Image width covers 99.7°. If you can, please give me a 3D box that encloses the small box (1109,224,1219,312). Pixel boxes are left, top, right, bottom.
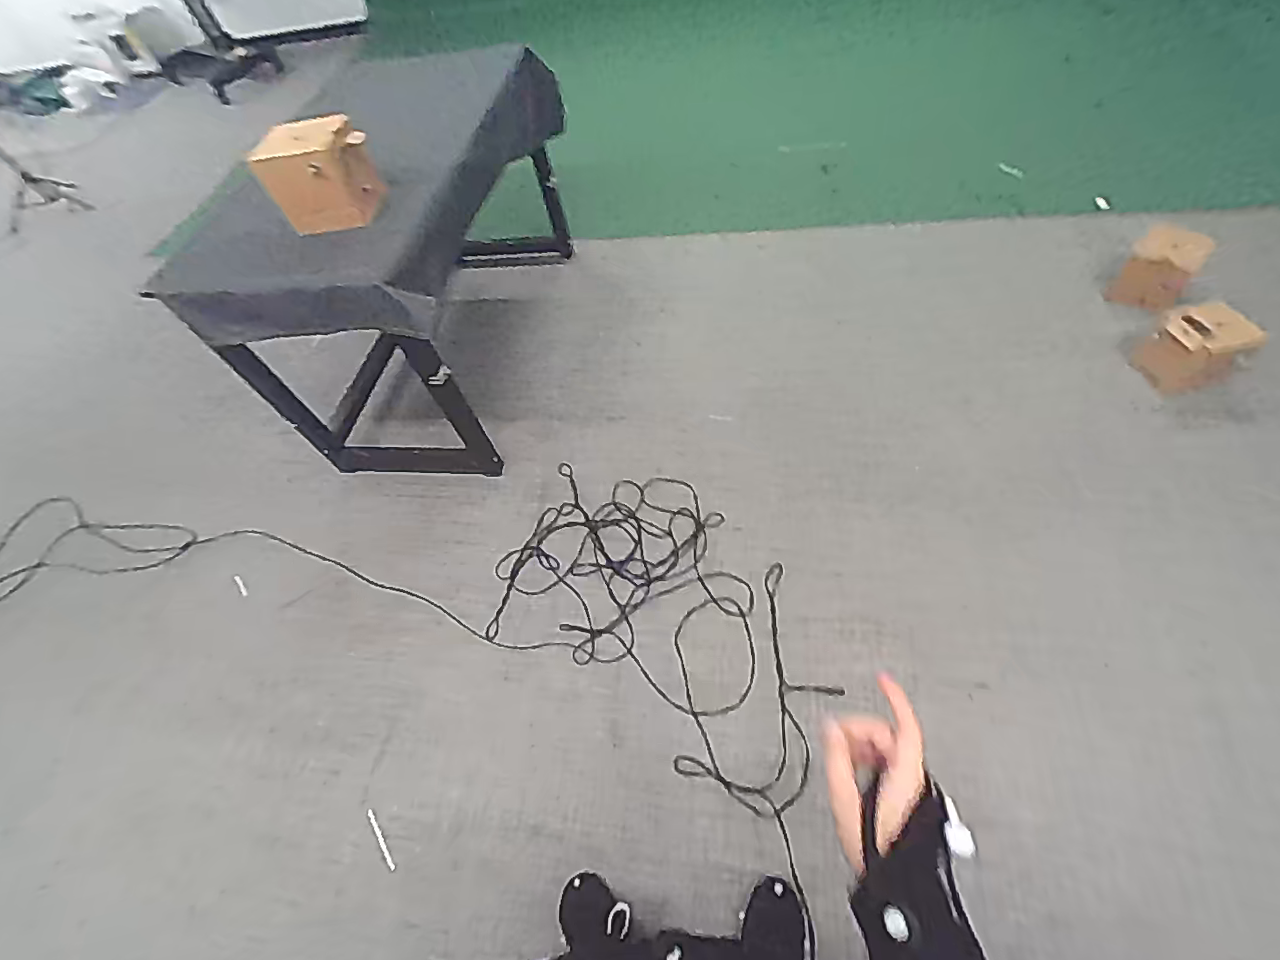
[{"bbox_3d":[1.617,-0.654,1.680,0.168,0.176,0.179,37,68,27],"label":"small box"}]

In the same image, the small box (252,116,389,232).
[{"bbox_3d":[-0.702,-0.678,1.212,0.179,0.176,0.168,-5,55,6],"label":"small box"}]
